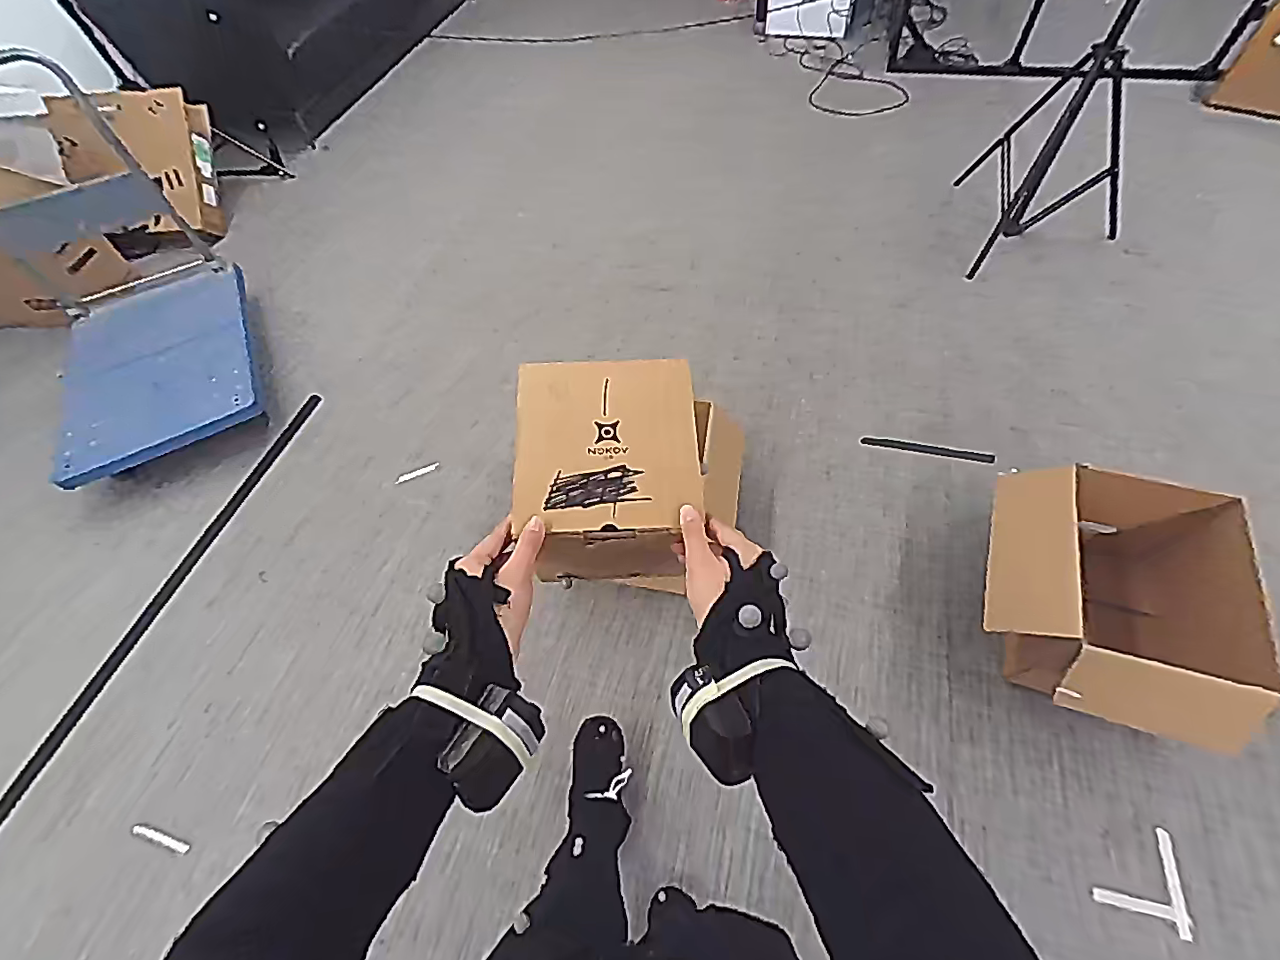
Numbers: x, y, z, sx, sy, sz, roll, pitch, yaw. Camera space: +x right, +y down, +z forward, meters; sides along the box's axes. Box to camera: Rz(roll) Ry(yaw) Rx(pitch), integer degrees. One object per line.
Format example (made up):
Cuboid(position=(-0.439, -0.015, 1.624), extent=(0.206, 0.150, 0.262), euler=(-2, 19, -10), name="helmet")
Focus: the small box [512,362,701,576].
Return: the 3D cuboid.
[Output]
Cuboid(position=(-0.032, -0.001, 0.566), extent=(0.168, 0.176, 0.179), euler=(-2, 65, -3), name="small box")
